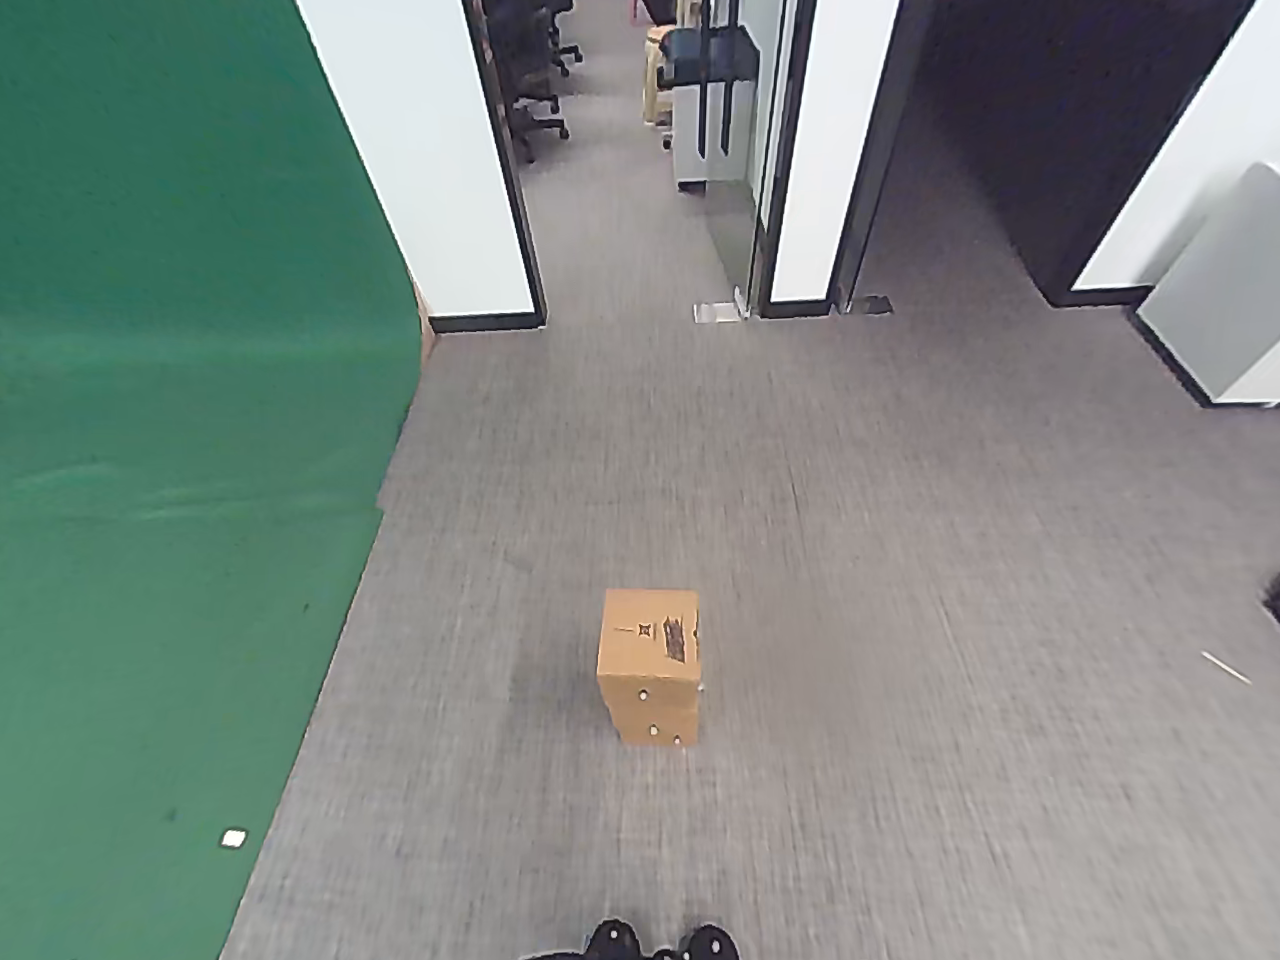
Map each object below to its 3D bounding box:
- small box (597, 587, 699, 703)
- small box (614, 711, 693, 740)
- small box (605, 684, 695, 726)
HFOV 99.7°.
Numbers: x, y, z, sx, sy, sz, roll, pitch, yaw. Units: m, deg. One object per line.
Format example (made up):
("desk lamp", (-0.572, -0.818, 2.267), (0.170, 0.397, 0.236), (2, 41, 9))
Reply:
("small box", (0.017, 0.317, 1.033), (0.179, 0.176, 0.168), (0, 52, 2))
("small box", (0.037, 0.514, 1.295), (0.179, 0.176, 0.168), (-1, 52, 4))
("small box", (0.028, 0.419, 1.162), (0.179, 0.176, 0.168), (3, 52, 5))
